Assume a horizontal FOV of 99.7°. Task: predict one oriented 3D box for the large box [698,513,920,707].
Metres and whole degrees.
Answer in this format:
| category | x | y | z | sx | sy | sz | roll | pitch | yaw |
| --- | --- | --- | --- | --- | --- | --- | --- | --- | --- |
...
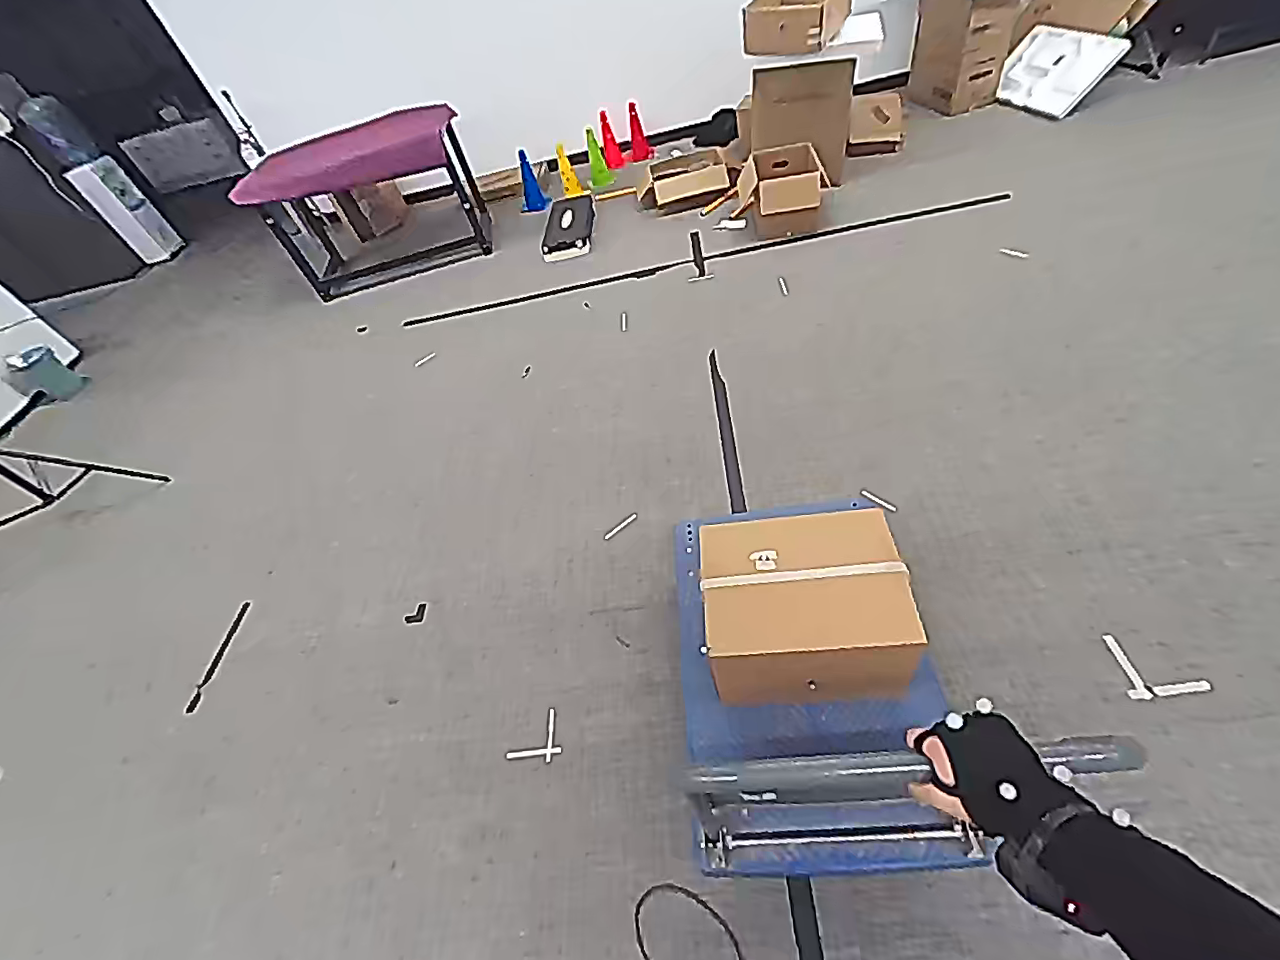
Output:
| category | x | y | z | sx | sy | sz | roll | pitch | yaw |
| --- | --- | --- | --- | --- | --- | --- | --- | --- | --- |
| large box | 0.362 | 0.308 | 1.240 | 0.408 | 0.320 | 0.320 | -8 | 48 | 10 |
